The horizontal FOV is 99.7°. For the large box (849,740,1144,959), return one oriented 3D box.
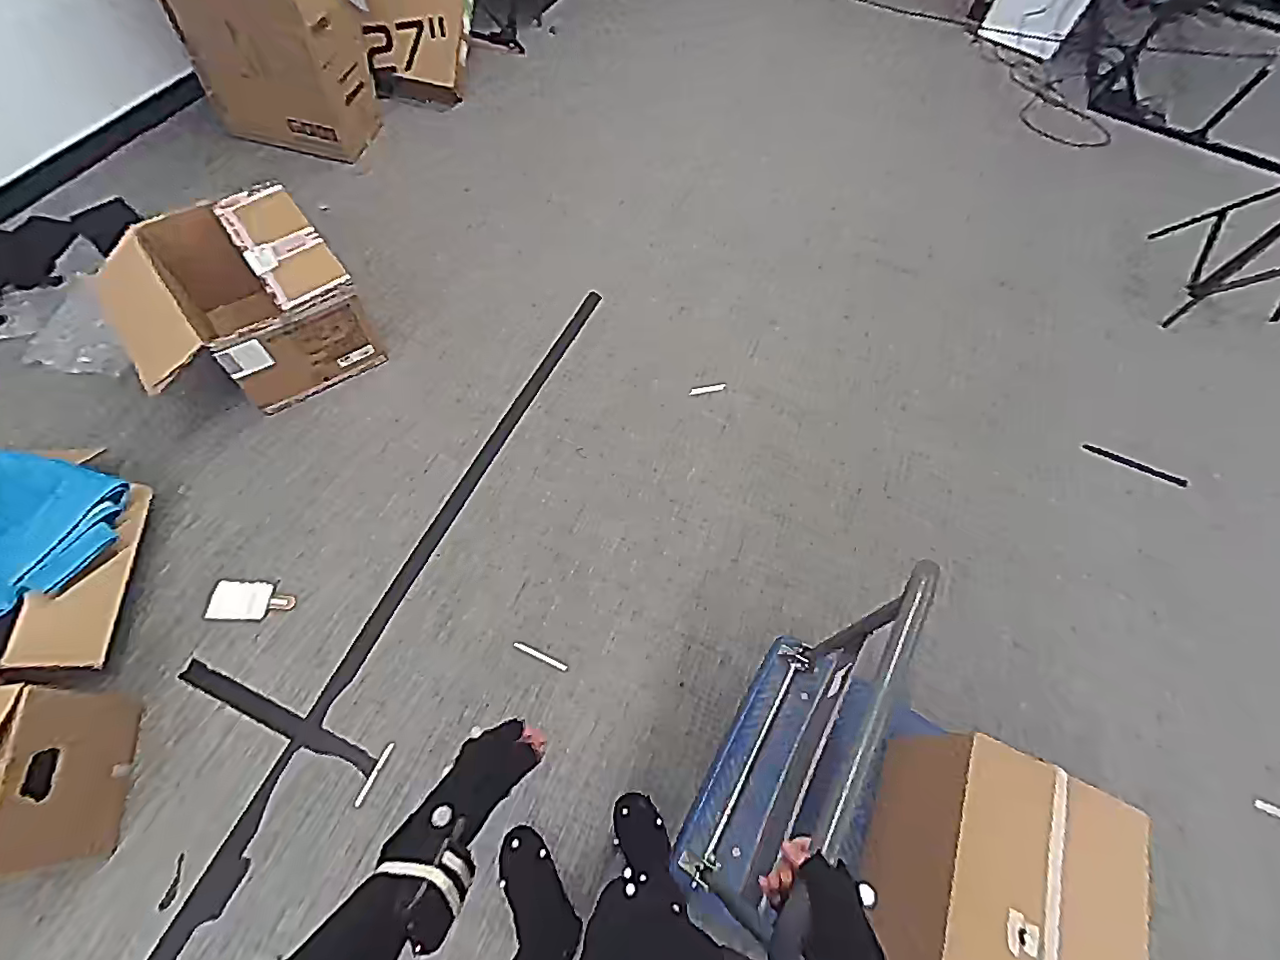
[{"bbox_3d":[0.631,0.743,0.989,0.320,0.320,0.408,24,63,7],"label":"large box"}]
